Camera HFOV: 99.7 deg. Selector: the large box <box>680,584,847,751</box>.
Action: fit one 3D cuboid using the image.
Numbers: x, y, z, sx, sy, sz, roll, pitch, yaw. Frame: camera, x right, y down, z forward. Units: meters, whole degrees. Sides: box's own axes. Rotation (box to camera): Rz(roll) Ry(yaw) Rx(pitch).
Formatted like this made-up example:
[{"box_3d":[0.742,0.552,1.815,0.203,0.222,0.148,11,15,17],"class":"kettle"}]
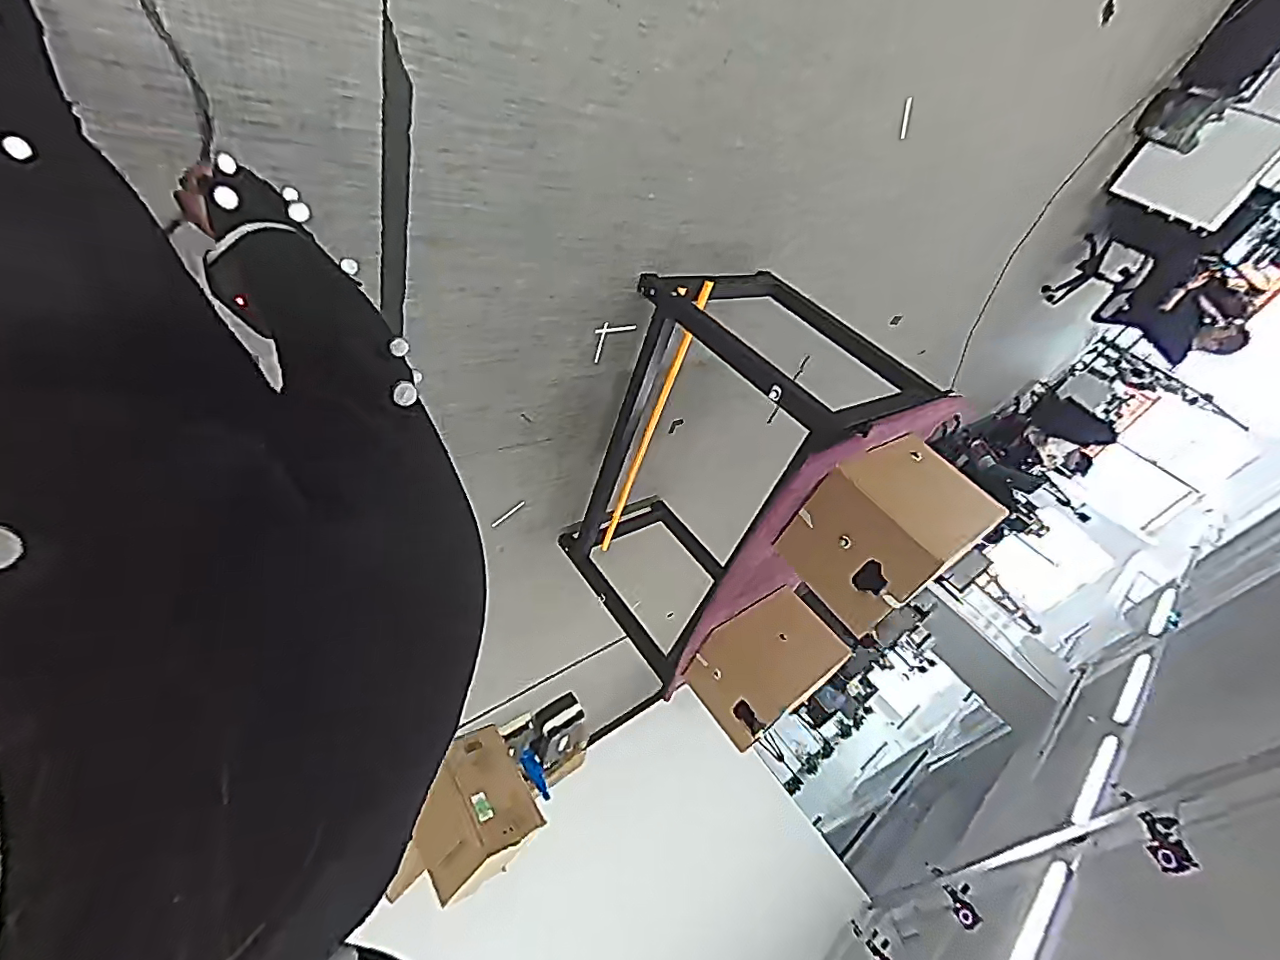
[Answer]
[{"box_3d":[0.408,0.622,1.838,0.408,0.320,0.320,-19,145,-39],"class":"large box"}]
